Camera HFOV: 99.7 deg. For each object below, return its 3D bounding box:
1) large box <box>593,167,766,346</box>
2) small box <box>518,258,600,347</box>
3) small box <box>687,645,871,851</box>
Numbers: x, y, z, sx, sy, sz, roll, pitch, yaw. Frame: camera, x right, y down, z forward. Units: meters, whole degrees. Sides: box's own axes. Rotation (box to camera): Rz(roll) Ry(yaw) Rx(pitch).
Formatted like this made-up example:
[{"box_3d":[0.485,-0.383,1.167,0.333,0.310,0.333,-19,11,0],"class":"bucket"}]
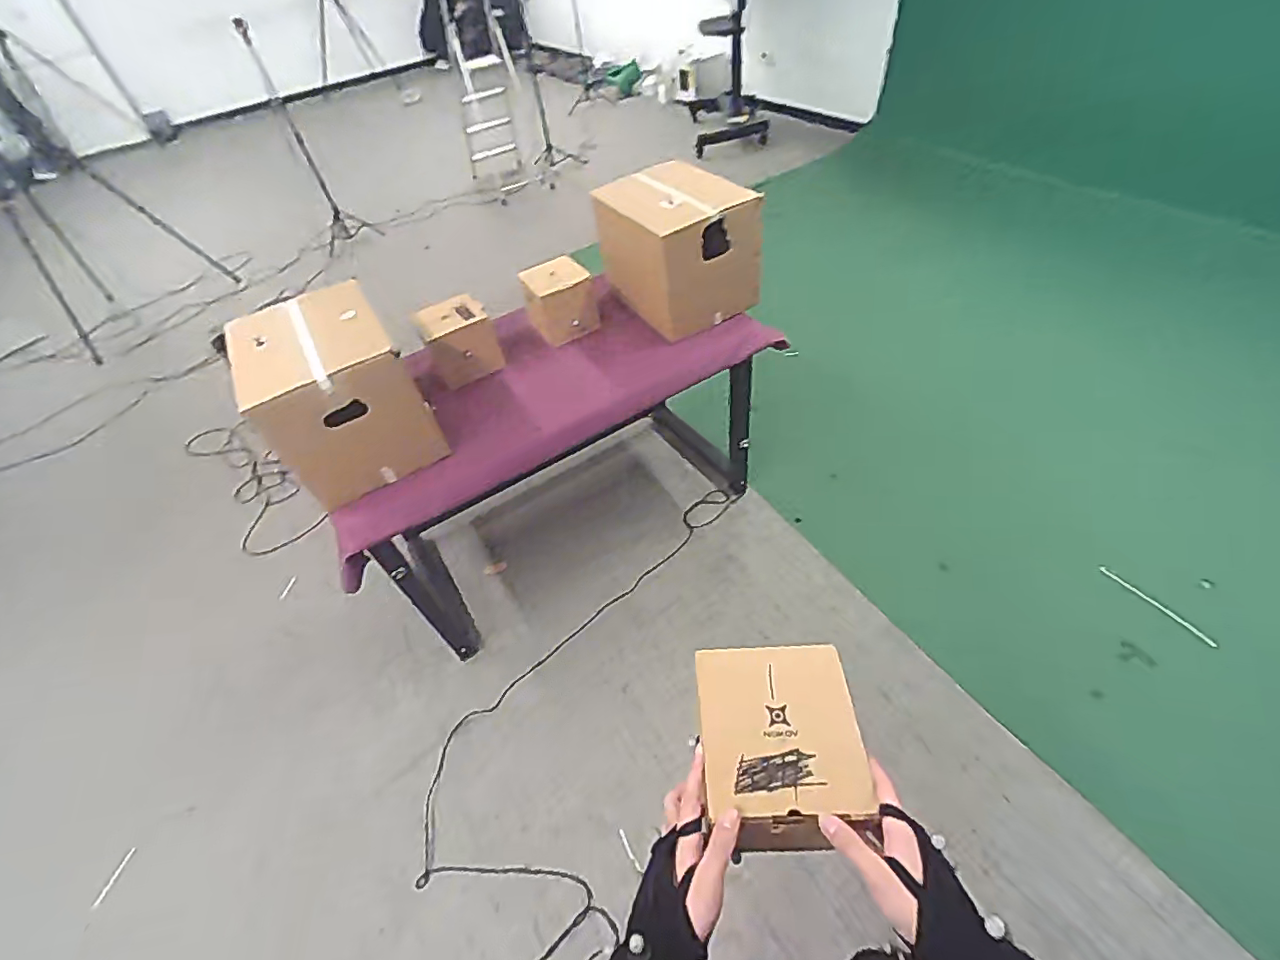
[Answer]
[{"box_3d":[0.109,-0.657,1.574,0.320,0.320,0.408,-28,51,-14],"class":"large box"},{"box_3d":[-0.237,-0.524,1.597,0.168,0.176,0.179,-28,51,-15],"class":"small box"},{"box_3d":[0.143,0.313,0.624,0.168,0.176,0.179,-3,45,2],"class":"small box"}]
